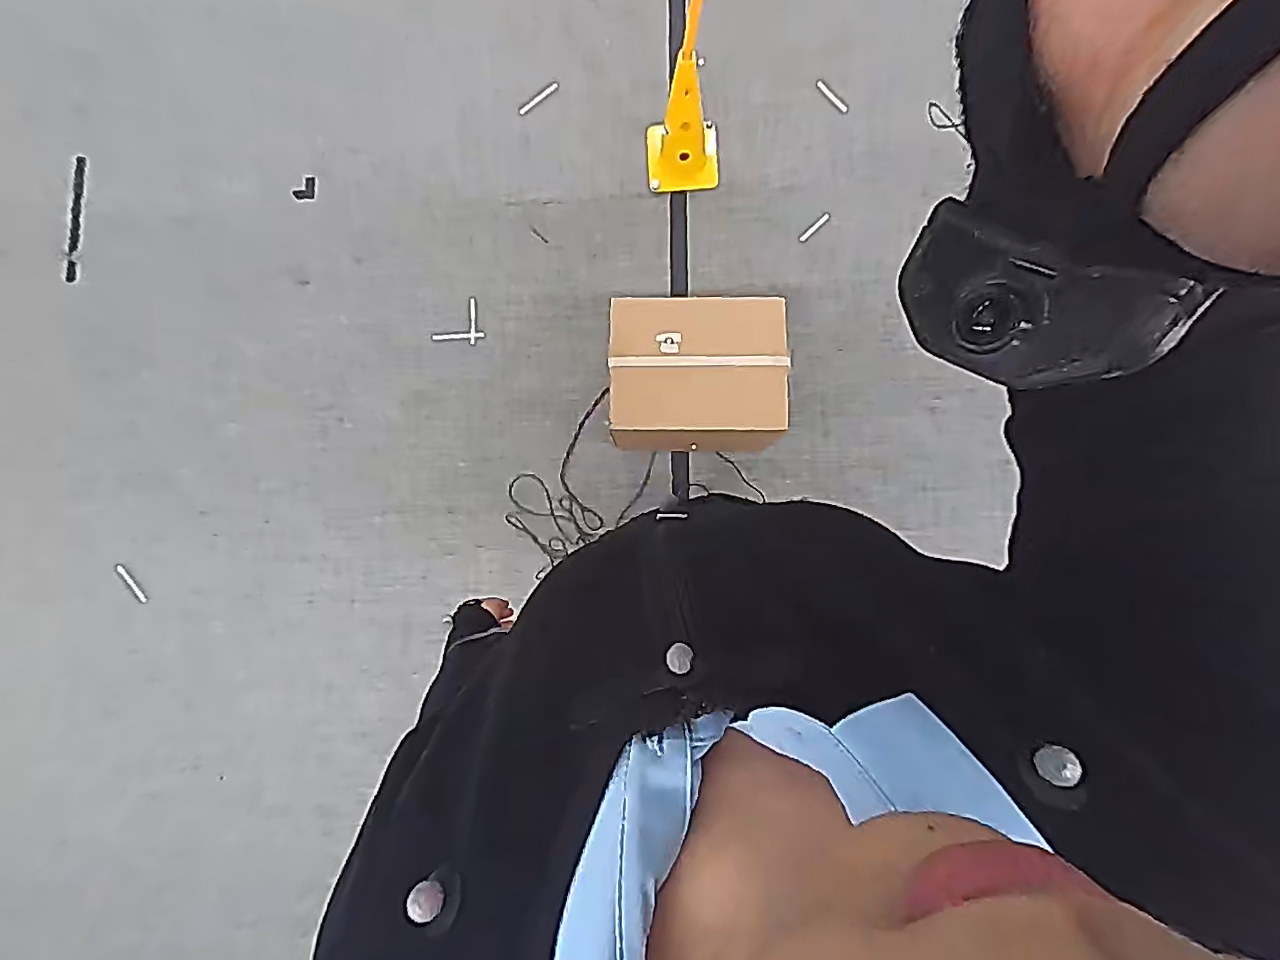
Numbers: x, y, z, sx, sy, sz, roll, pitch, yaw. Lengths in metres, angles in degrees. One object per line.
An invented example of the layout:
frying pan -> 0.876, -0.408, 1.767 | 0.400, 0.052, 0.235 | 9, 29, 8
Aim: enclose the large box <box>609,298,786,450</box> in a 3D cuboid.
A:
large box -> 0.136, -0.250, 1.388 | 0.408, 0.320, 0.320 | 0, 83, 2
